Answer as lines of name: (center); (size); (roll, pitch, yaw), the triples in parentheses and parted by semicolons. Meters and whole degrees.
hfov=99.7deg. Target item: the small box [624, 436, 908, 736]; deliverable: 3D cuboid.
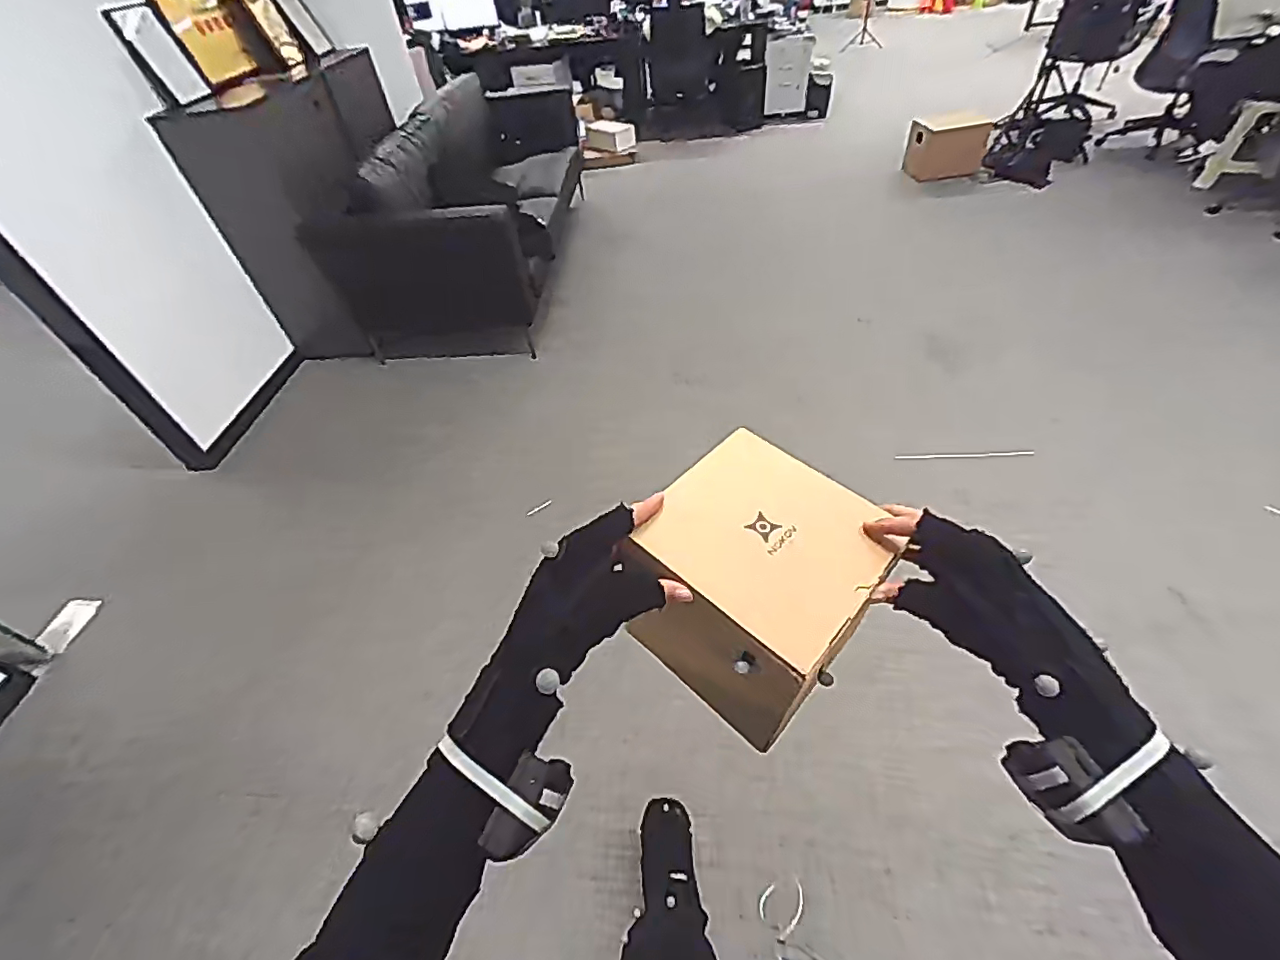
small box: (0.100, 0.097, 0.499); (0.179, 0.176, 0.168); (36, 57, 27)
